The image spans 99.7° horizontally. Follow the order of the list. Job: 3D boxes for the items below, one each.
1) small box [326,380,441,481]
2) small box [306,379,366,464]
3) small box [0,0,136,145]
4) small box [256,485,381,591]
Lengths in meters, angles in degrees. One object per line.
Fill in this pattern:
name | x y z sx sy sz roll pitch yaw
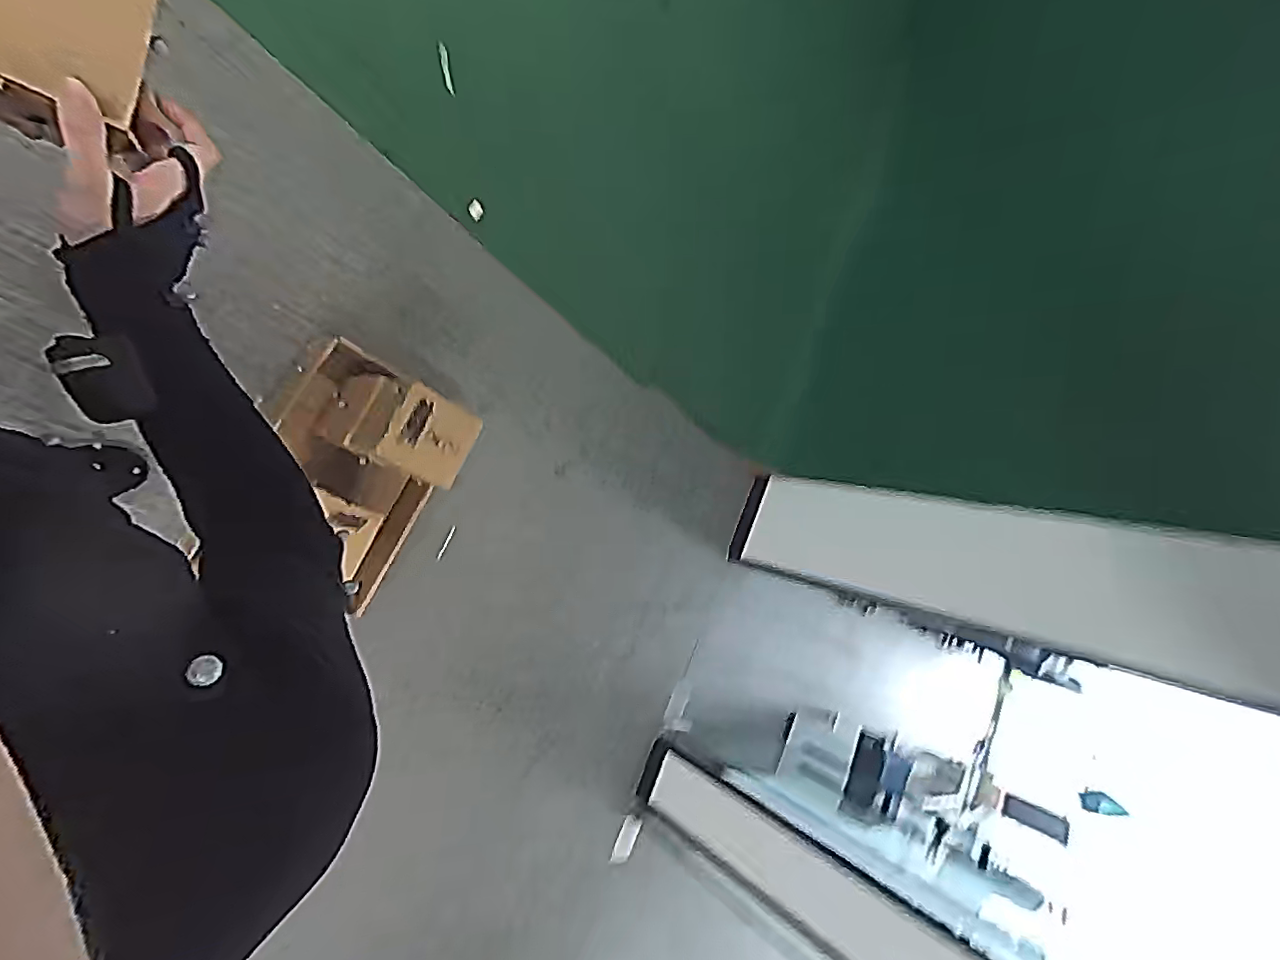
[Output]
small box | -0.613 -0.120 1.278 0.168 0.176 0.179 36 74 -42
small box | -0.722 -0.143 1.397 0.179 0.176 0.168 38 71 -42
small box | -0.456 -0.361 0.363 0.168 0.176 0.179 11 96 -50
small box | -0.724 0.123 1.211 0.168 0.176 0.179 34 74 -41
